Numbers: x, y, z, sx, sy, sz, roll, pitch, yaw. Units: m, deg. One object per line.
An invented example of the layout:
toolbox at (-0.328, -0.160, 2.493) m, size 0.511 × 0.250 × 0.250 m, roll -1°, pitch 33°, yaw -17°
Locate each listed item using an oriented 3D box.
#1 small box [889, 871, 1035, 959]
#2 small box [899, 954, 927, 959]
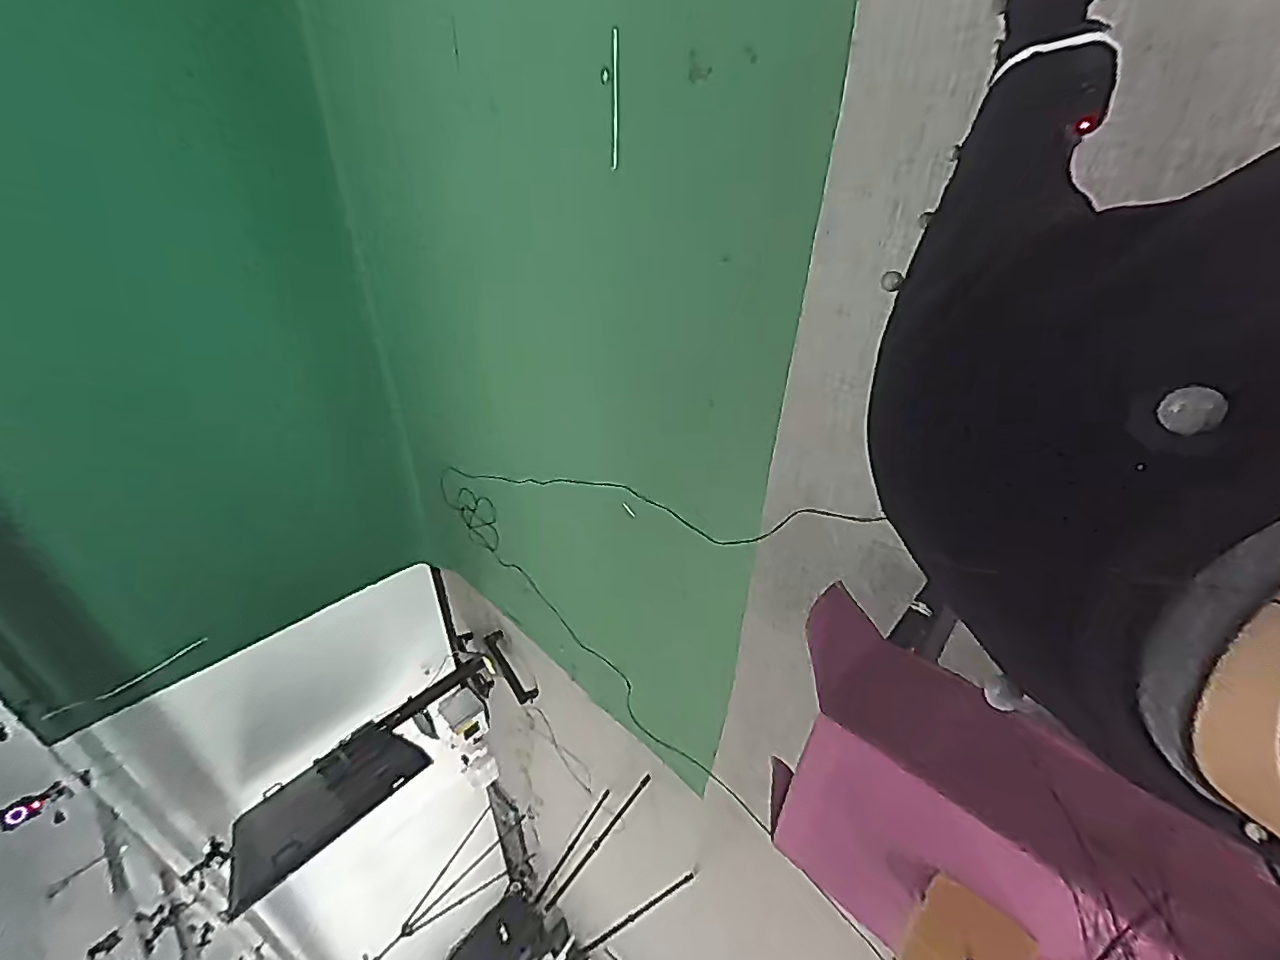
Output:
small box at (0.599, 0.895, 1.012) m, size 0.179 × 0.176 × 0.168 m, roll 30°, pitch 131°, yaw 35°
small box at (0.485, 0.958, 0.911) m, size 0.179 × 0.176 × 0.168 m, roll 28°, pitch 130°, yaw 34°
